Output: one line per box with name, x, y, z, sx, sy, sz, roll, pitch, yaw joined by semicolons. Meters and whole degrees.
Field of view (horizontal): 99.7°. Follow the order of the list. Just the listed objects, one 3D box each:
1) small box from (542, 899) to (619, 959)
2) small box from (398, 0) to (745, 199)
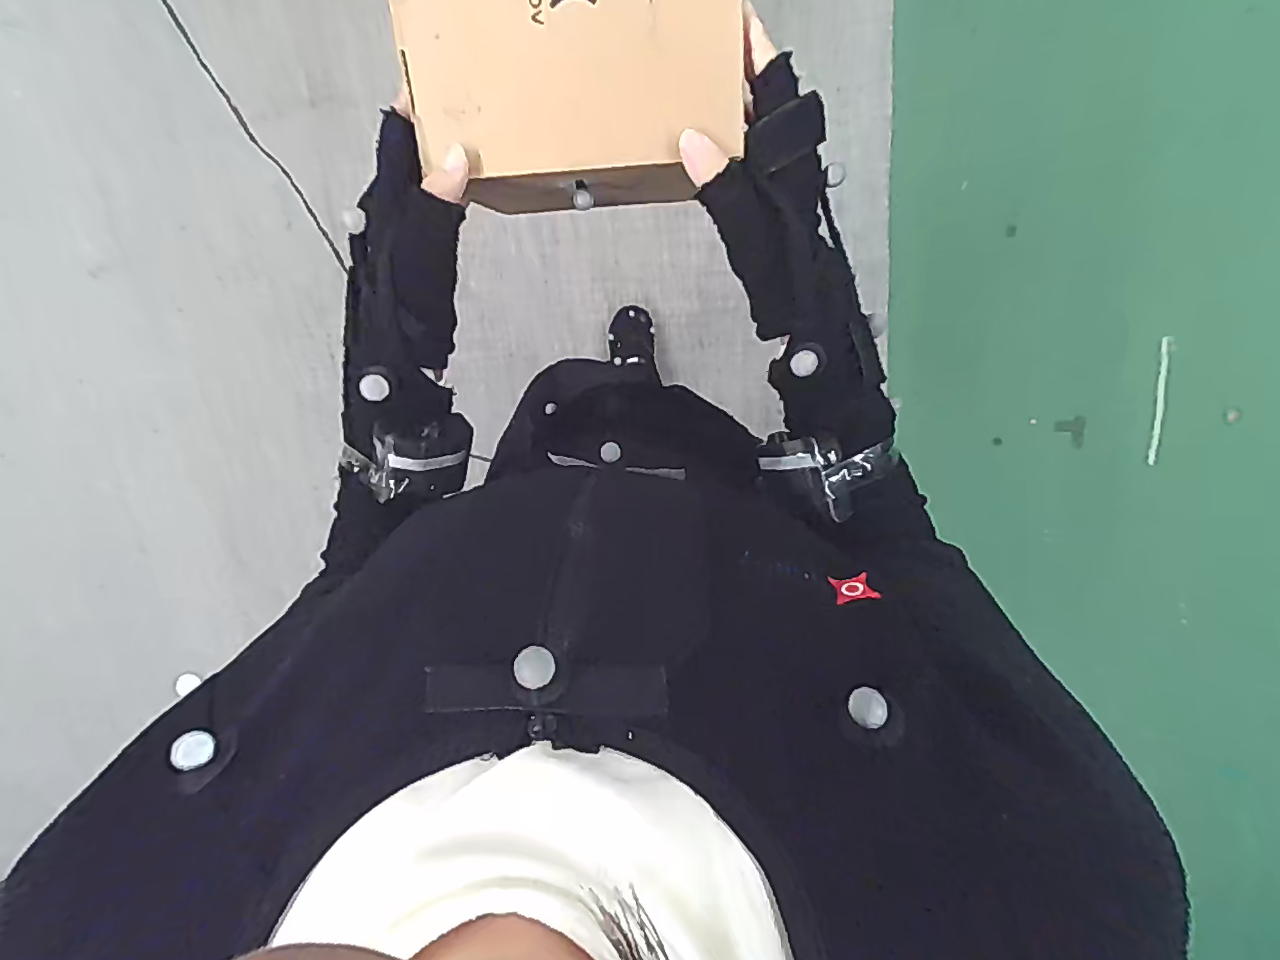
small box;-0.139;1.144;1.290;0.168;0.176;0.179;-1;101;2
small box;-0.034;-0.280;0.338;0.179;0.176;0.168;-4;112;2
